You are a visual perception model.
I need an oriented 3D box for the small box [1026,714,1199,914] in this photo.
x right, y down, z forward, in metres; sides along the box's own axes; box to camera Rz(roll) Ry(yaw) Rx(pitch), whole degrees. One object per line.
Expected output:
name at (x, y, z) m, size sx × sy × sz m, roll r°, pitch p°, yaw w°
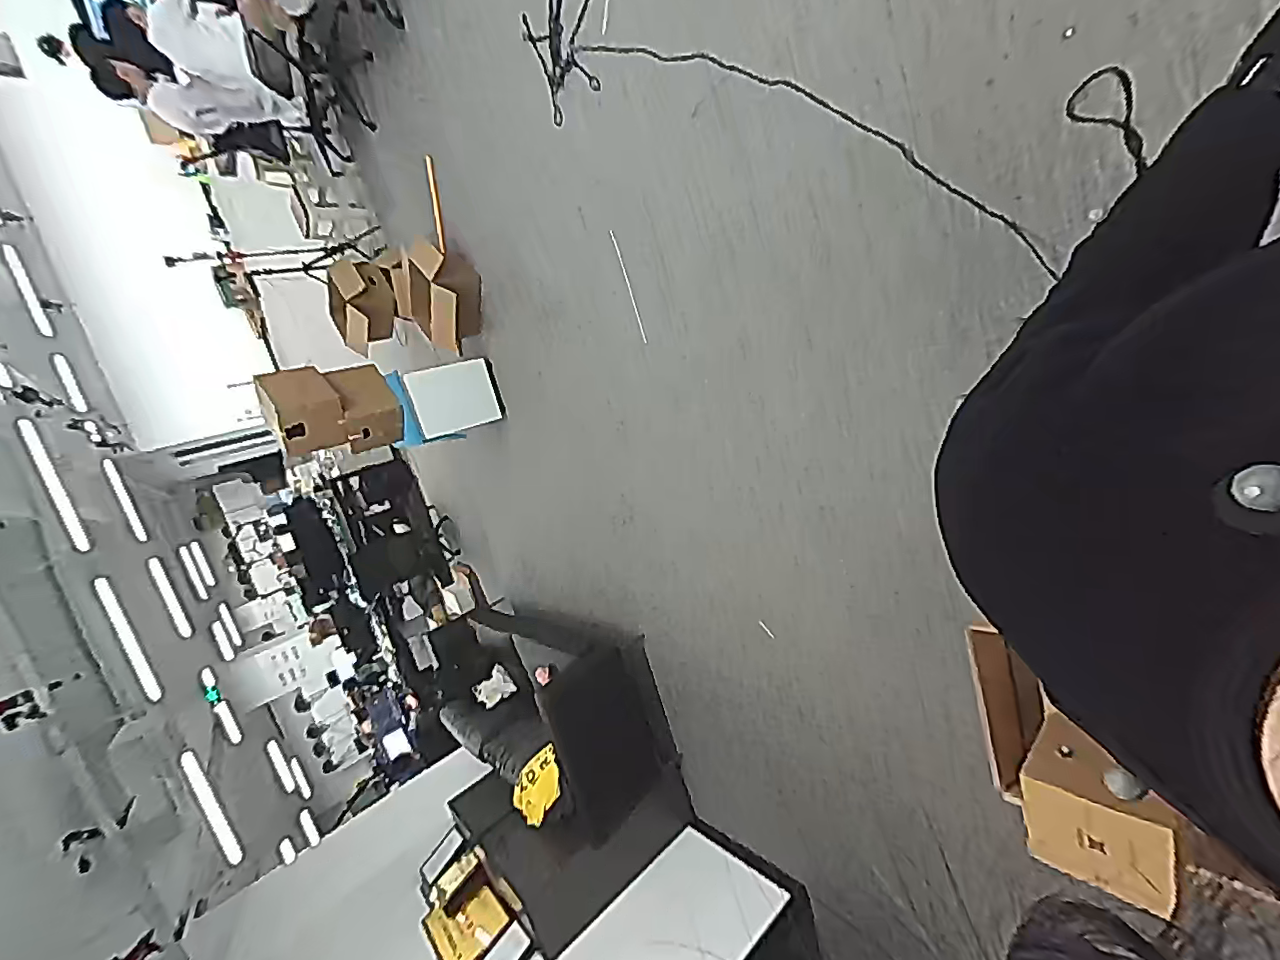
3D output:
small box at (0.739, 0.502, 0.848) m, size 0.179 × 0.176 × 0.168 m, roll 2°, pitch 112°, yaw 51°
